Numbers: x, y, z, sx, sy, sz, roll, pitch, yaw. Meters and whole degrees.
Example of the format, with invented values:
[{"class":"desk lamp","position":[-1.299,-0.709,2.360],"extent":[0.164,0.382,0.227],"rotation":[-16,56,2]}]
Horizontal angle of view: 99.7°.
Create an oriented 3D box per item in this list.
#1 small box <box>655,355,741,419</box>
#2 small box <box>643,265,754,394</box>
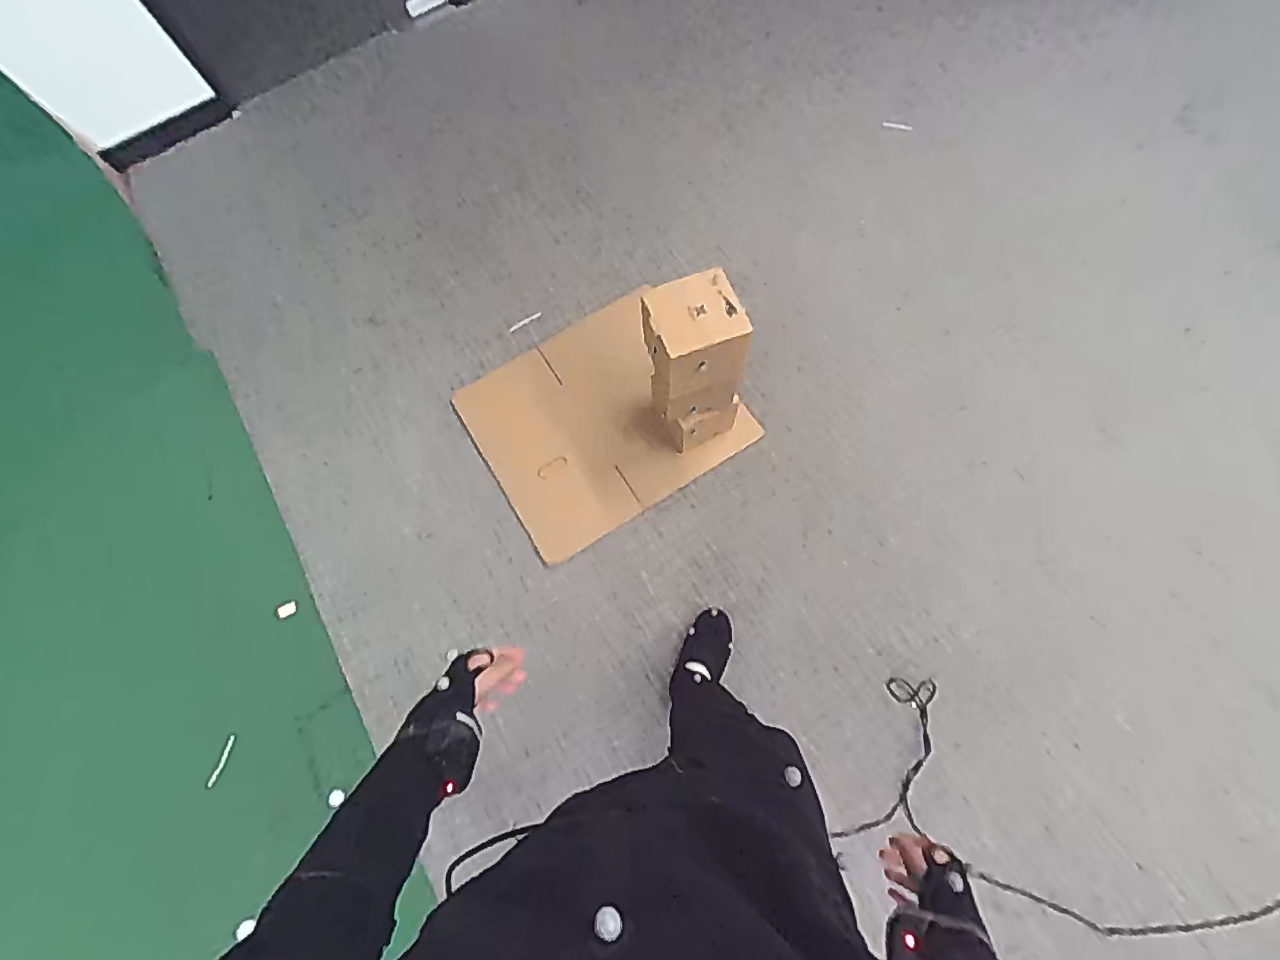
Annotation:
[{"class":"small box","position":[0.130,-0.269,1.283],"extent":[0.168,0.176,0.179],"rotation":[-12,72,-1]},{"class":"small box","position":[0.119,-0.304,1.124],"extent":[0.179,0.176,0.168],"rotation":[-20,72,-3]}]
